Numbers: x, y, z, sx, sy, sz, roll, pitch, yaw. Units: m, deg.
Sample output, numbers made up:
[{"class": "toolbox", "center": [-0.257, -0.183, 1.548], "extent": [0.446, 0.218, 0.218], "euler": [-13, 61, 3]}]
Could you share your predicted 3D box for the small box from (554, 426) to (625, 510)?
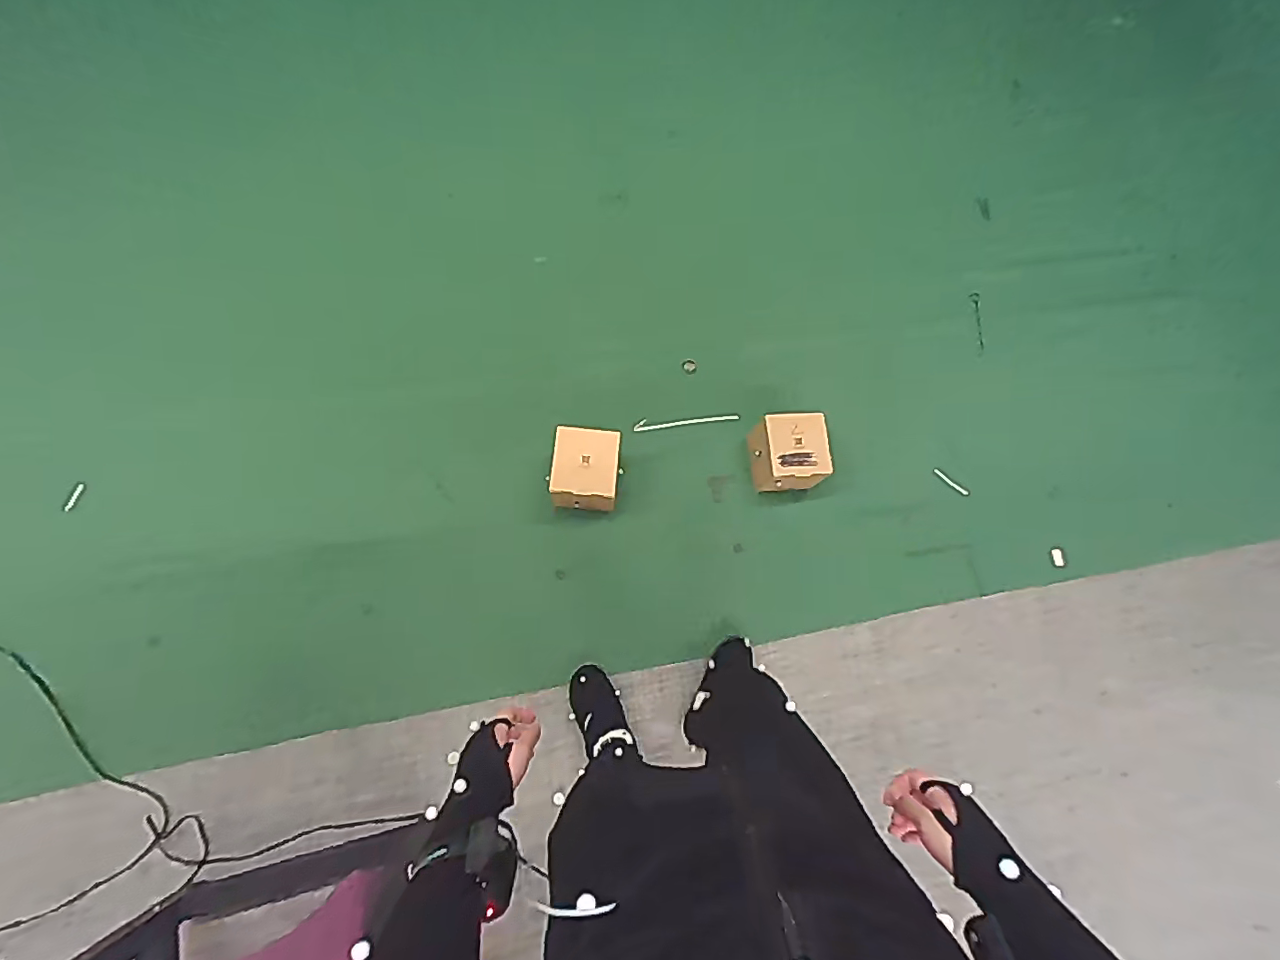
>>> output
[{"class": "small box", "center": [-0.136, -0.027, 1.444], "extent": [0.168, 0.176, 0.179], "euler": [6, 76, -4]}]
